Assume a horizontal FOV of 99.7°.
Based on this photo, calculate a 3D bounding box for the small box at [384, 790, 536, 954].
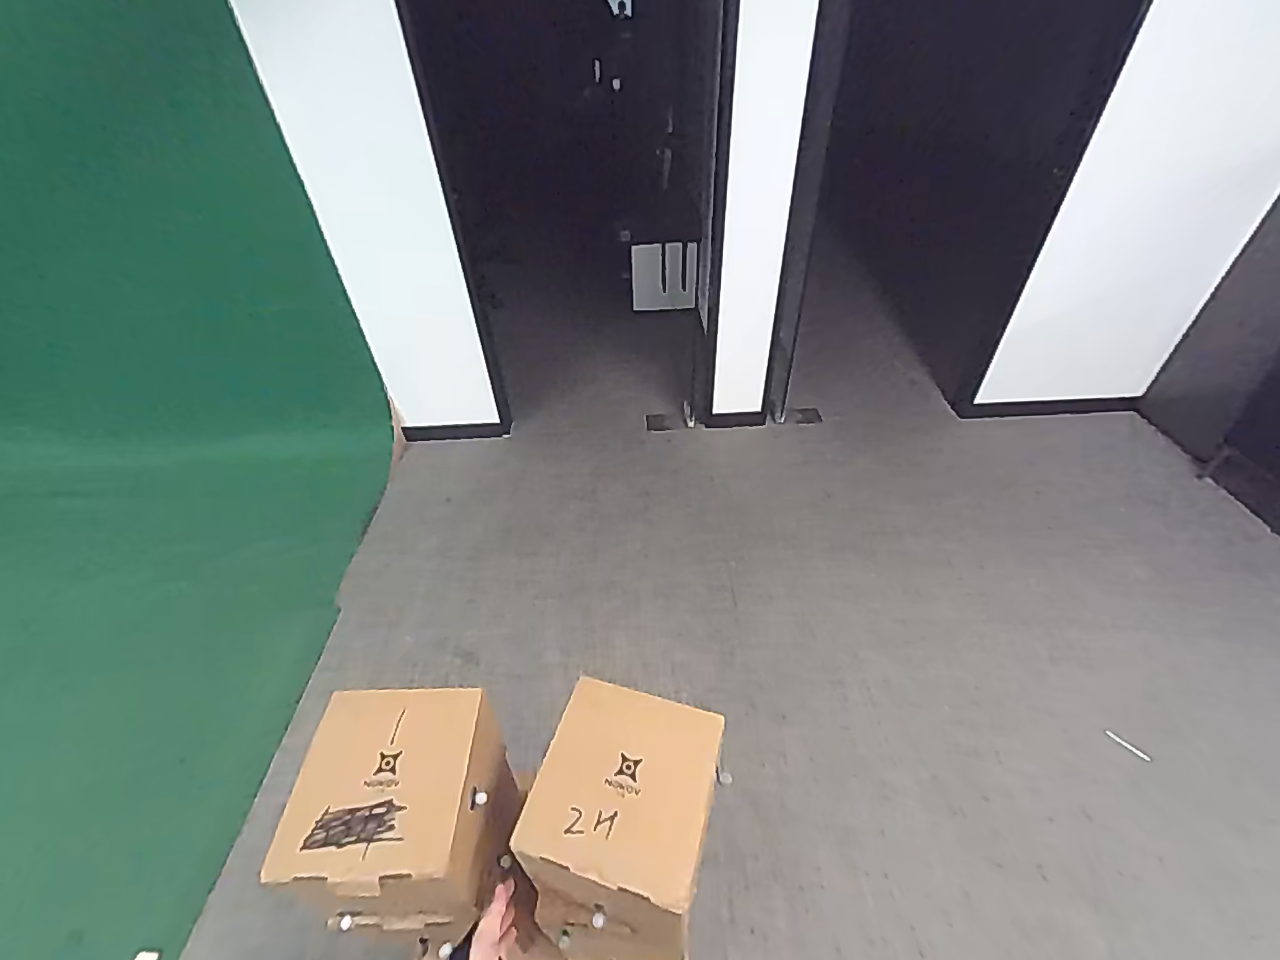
[{"bbox_3d":[-0.250,0.589,0.812,0.168,0.176,0.179,1,42,0],"label":"small box"}]

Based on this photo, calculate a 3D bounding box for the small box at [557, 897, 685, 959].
[{"bbox_3d":[-0.016,0.591,0.796,0.168,0.176,0.179,2,42,6],"label":"small box"}]

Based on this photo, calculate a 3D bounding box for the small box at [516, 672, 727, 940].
[{"bbox_3d":[-0.010,0.344,0.578,0.168,0.176,0.179,10,43,15],"label":"small box"}]

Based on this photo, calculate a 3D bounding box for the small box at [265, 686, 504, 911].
[{"bbox_3d":[-0.251,0.348,0.590,0.168,0.176,0.179,0,41,-2],"label":"small box"}]
